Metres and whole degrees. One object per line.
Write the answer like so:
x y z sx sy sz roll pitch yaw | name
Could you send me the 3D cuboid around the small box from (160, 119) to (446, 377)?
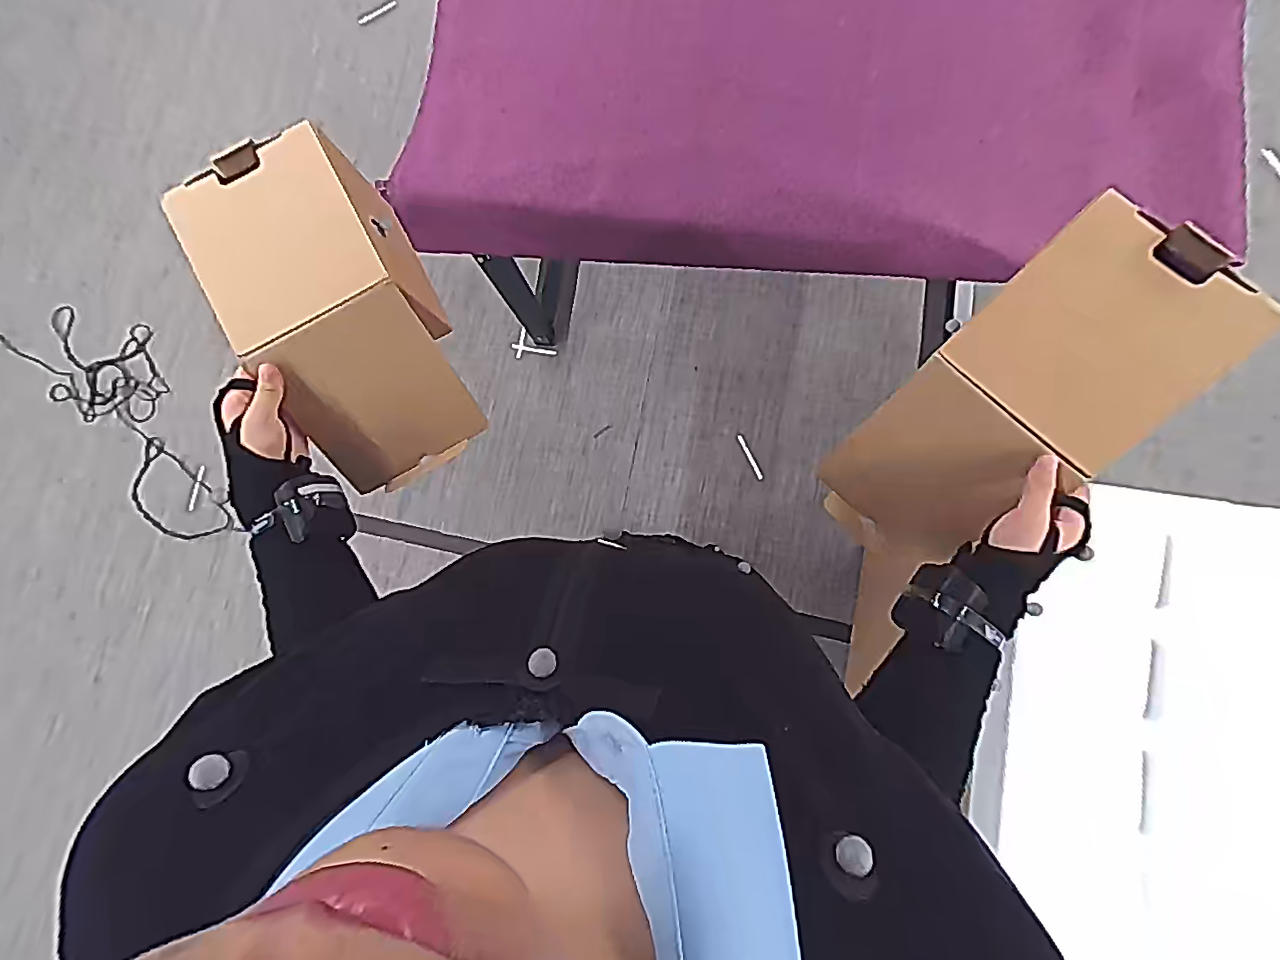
-0.342 -0.227 0.587 0.168 0.176 0.179 -27 88 0 | small box
